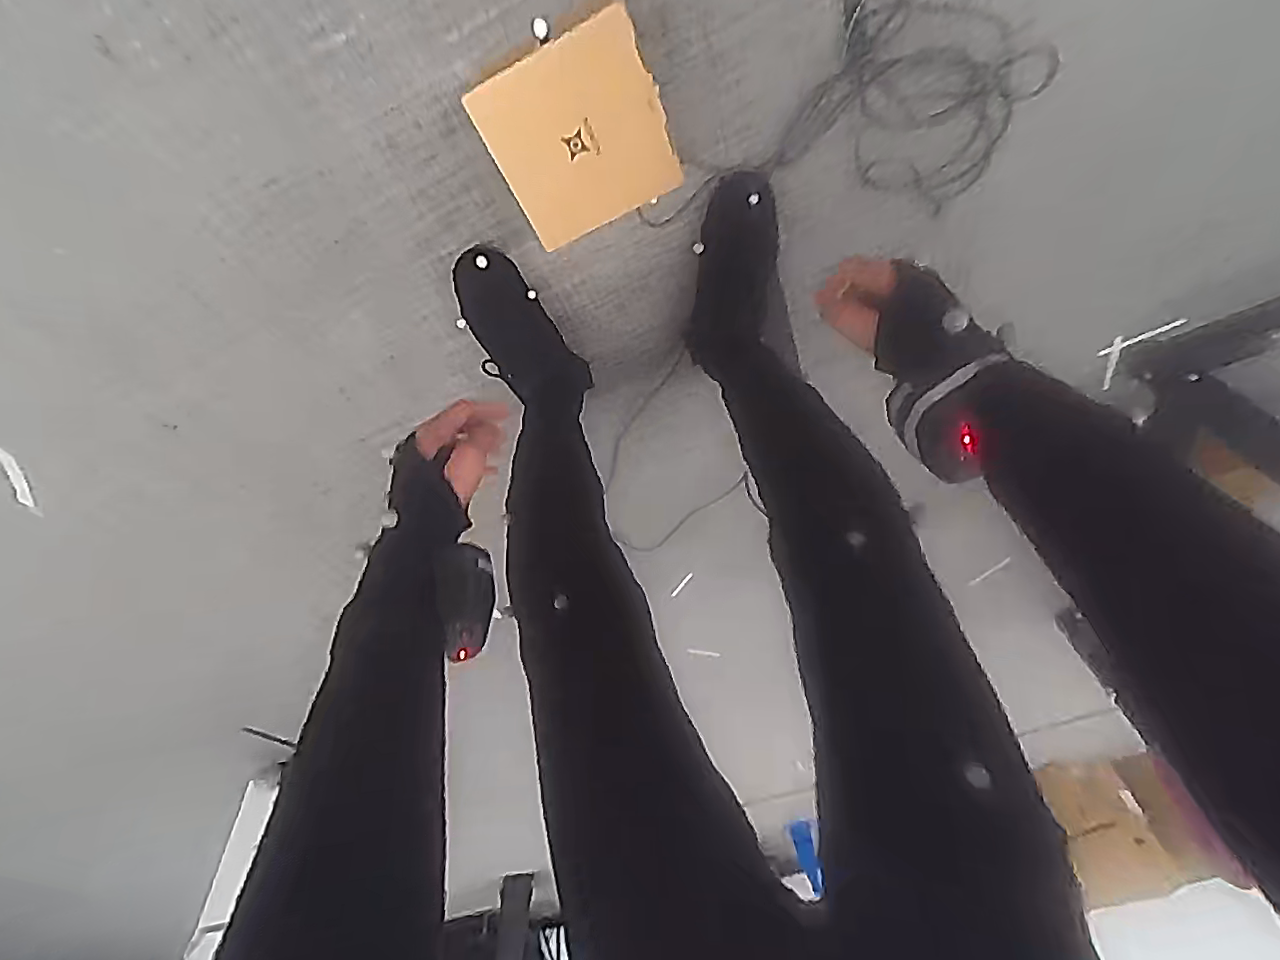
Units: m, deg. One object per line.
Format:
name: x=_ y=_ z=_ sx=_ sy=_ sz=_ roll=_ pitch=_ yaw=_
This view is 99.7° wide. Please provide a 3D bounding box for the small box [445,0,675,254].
small box: x=-0.081 y=-0.388 z=0.592 sx=0.179 sy=0.176 sz=0.168 roll=-23 pitch=133 yaw=12
